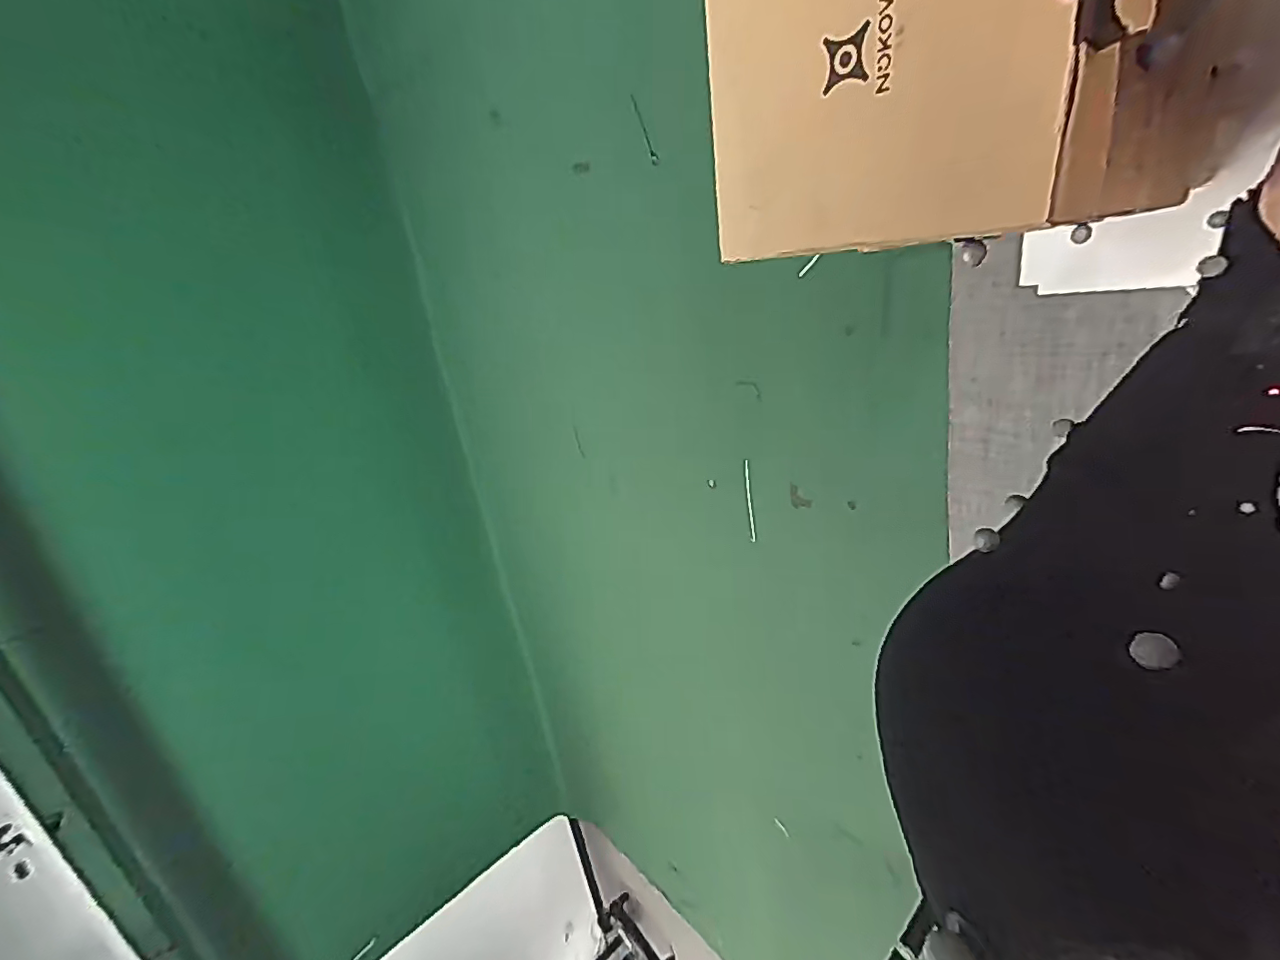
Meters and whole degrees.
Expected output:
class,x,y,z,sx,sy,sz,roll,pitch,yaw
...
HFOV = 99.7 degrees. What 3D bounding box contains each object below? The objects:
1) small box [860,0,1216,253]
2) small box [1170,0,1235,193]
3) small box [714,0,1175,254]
class,x,y,z,sx,sy,sz,roll,pitch,yaw
small box,0.285,-0.272,0.398,0.179,0.176,0.168,14,119,47
small box,0.401,-0.341,0.489,0.168,0.176,0.179,14,120,45
small box,0.162,-0.224,0.301,0.179,0.176,0.168,16,121,45
